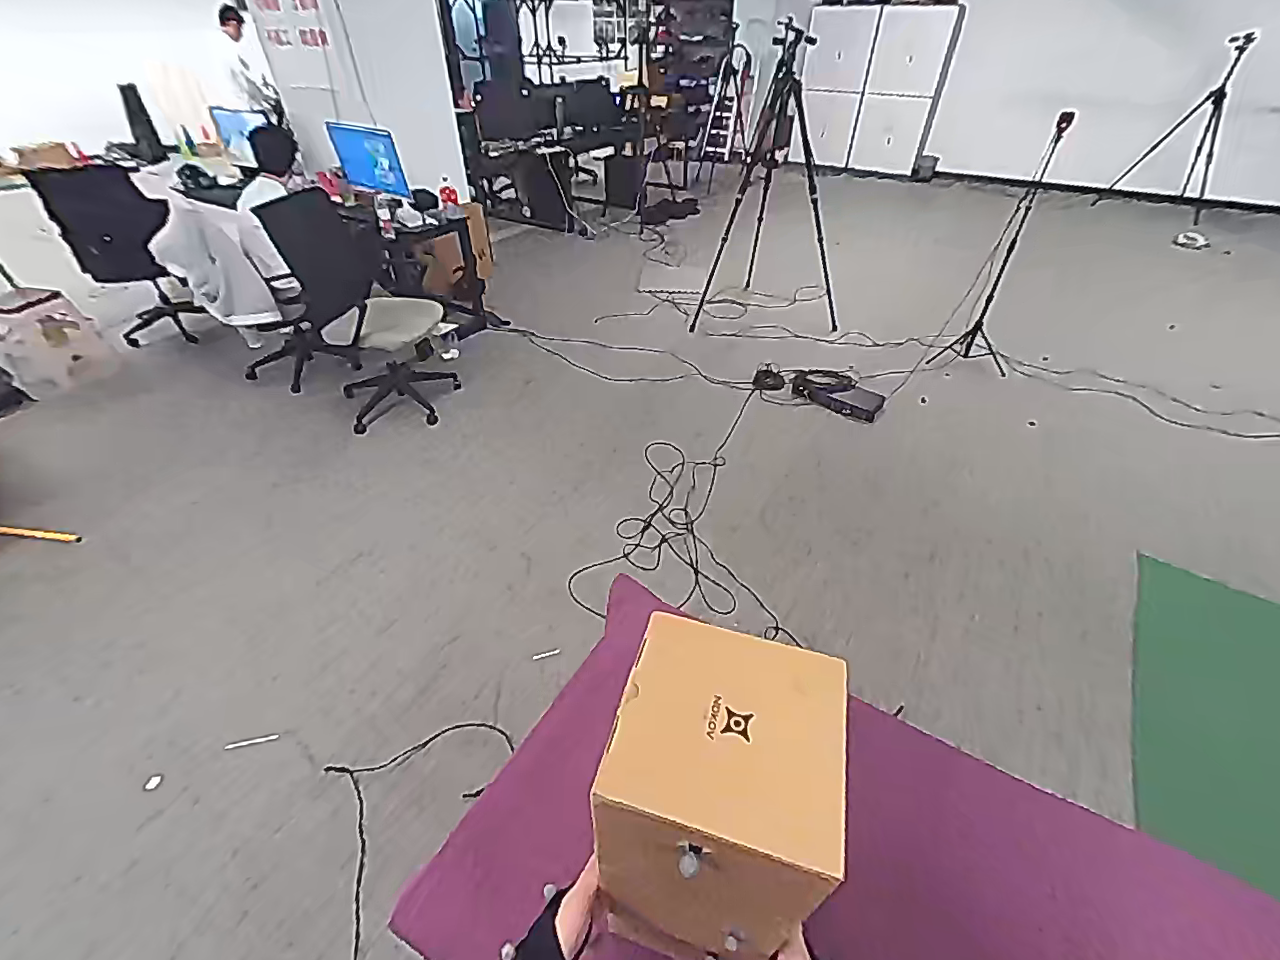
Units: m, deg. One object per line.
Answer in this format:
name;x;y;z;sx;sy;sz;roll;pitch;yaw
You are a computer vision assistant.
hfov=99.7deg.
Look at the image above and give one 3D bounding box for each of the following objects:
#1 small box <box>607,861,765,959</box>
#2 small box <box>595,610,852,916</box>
small box;0.068;0.489;0.694;0.179;0.176;0.168;13;42;14
small box;0.072;0.247;0.474;0.179;0.176;0.168;12;43;12
